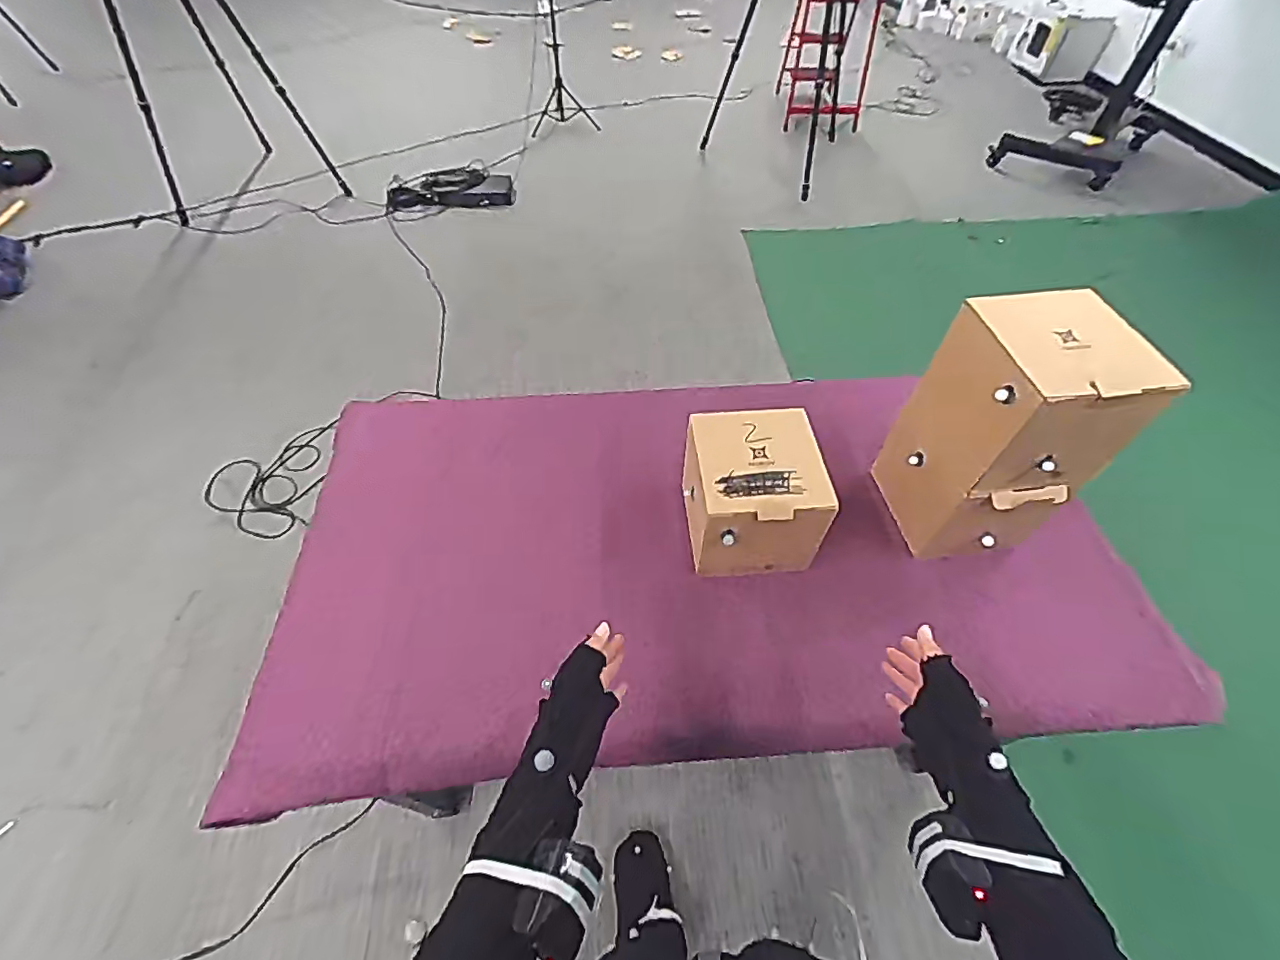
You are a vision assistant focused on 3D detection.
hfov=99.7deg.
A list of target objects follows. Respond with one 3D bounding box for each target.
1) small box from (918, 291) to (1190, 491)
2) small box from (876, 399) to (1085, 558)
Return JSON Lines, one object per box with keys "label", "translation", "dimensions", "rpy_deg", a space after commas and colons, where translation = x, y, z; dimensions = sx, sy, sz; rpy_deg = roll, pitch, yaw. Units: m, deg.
{"label": "small box", "translation": [0.482, -0.108, 0.670], "dimensions": [0.168, 0.176, 0.179], "rpy_deg": [-6, 54, -5]}
{"label": "small box", "translation": [0.478, -0.006, 0.798], "dimensions": [0.168, 0.176, 0.179], "rpy_deg": [-7, 54, -4]}
